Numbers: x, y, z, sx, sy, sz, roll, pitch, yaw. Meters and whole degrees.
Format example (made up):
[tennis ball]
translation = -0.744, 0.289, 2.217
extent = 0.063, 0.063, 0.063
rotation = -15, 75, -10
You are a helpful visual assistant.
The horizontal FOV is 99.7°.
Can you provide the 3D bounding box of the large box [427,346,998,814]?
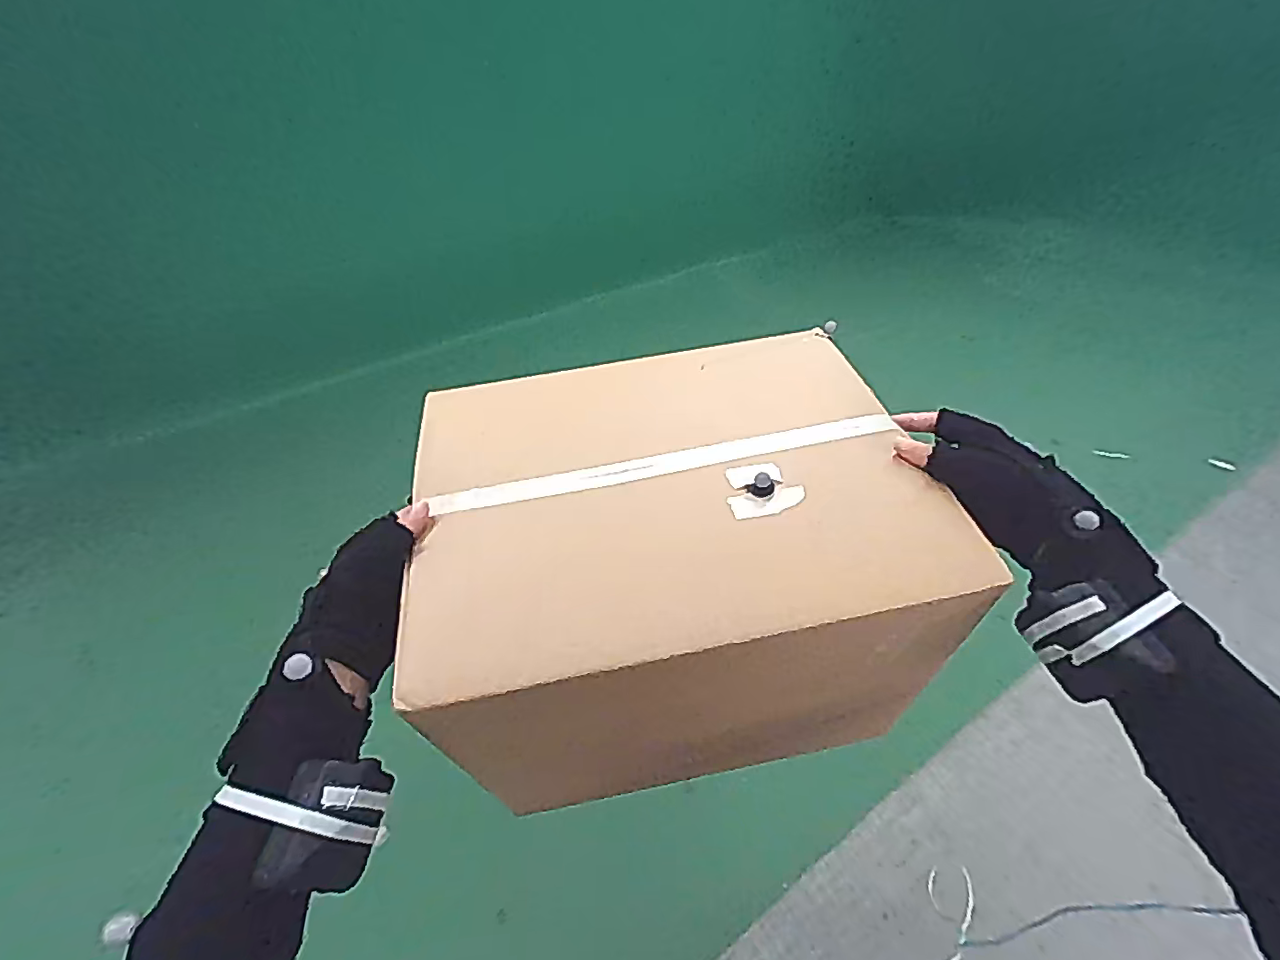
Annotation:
[large box]
translation = 0.038, 0.101, 0.565
extent = 0.408, 0.320, 0.320
rotation = -10, 48, -4
